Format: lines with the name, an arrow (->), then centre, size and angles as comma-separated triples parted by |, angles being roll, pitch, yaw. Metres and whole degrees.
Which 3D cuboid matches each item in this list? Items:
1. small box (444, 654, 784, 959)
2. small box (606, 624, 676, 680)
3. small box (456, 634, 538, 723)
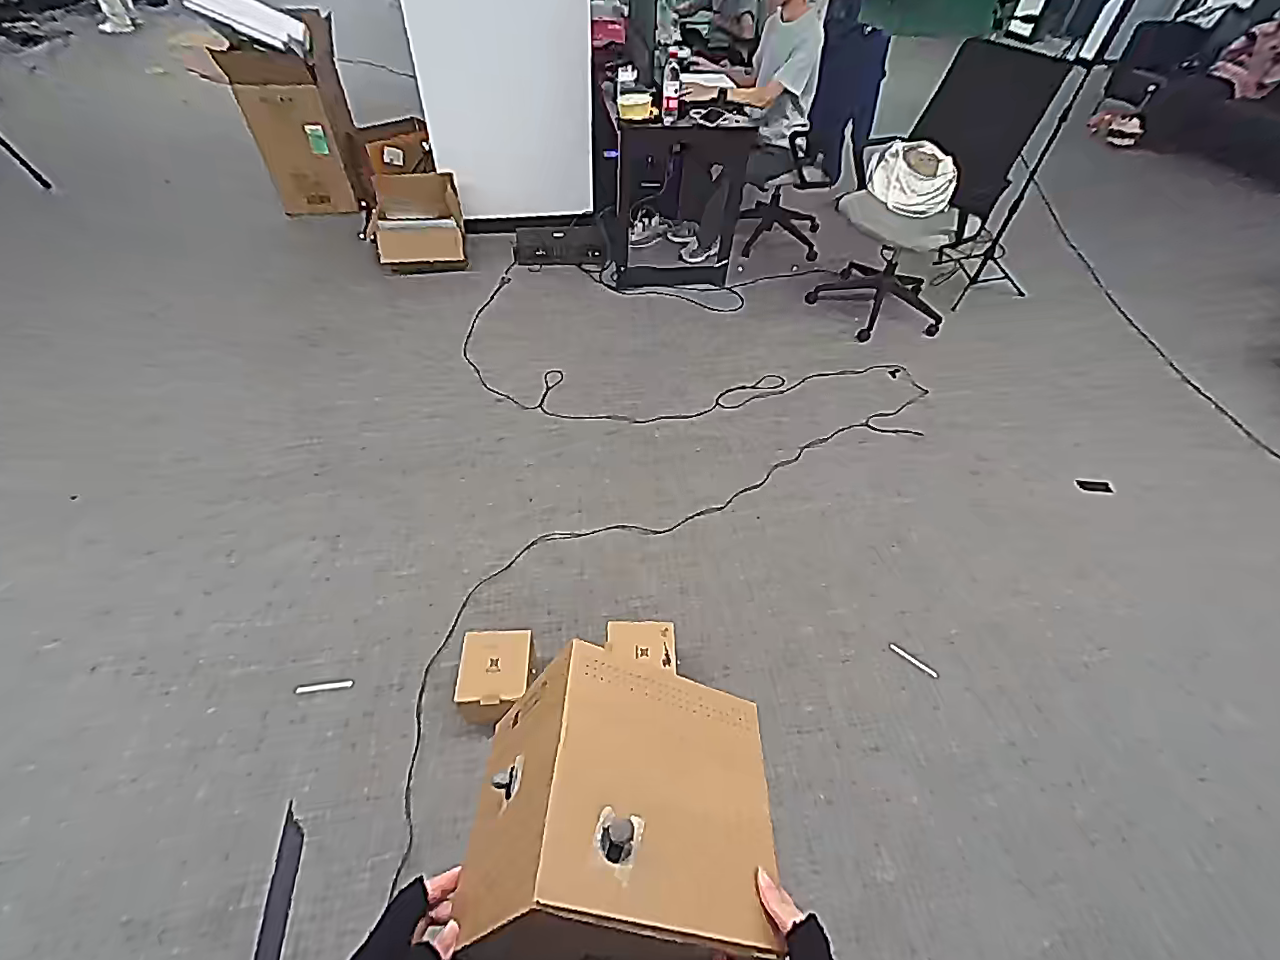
small box -> -0.020, 0.261, 0.420 | 0.179, 0.168, 0.176 | 26, 36, -17
small box -> -0.001, 0.489, 1.405 | 0.179, 0.176, 0.168 | 2, 50, -2
small box -> -0.352, 0.507, 1.369 | 0.168, 0.176, 0.179 | 1, 49, -4
